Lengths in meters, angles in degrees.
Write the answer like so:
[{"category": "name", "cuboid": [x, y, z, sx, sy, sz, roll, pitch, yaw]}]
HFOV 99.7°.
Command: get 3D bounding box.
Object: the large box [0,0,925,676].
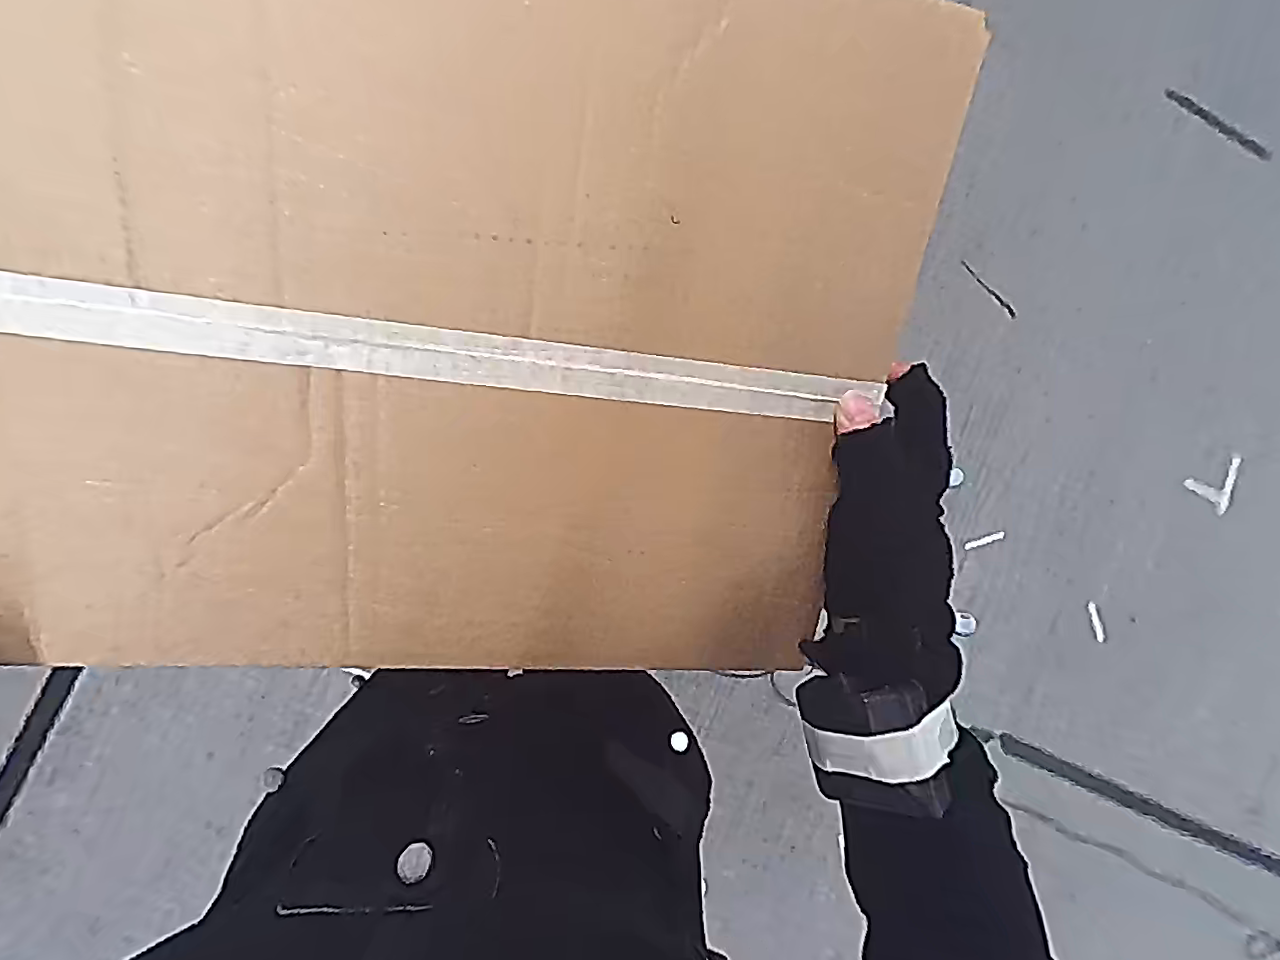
[{"category": "large box", "cuboid": [-0.117, -0.098, 0.369, 0.408, 0.320, 0.320, 3, 109, -12]}]
